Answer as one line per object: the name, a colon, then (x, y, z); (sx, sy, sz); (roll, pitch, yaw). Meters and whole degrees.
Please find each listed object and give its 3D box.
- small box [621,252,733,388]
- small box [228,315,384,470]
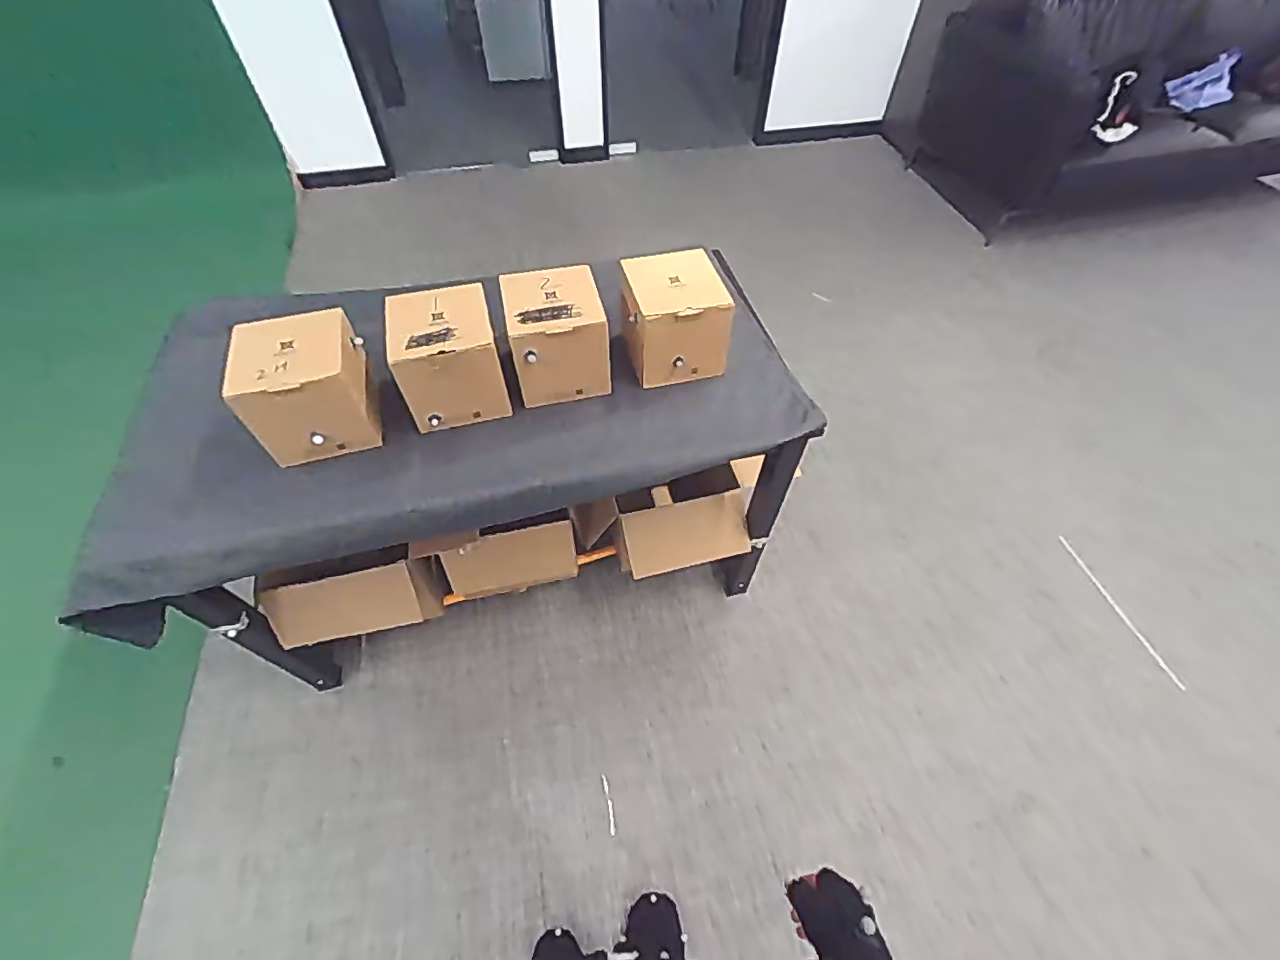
small box: (0.060, -0.304, 1.034); (0.168, 0.176, 0.179); (-13, 55, -9)
small box: (-0.549, -0.145, 0.913); (0.168, 0.176, 0.179); (-15, 56, -11)
